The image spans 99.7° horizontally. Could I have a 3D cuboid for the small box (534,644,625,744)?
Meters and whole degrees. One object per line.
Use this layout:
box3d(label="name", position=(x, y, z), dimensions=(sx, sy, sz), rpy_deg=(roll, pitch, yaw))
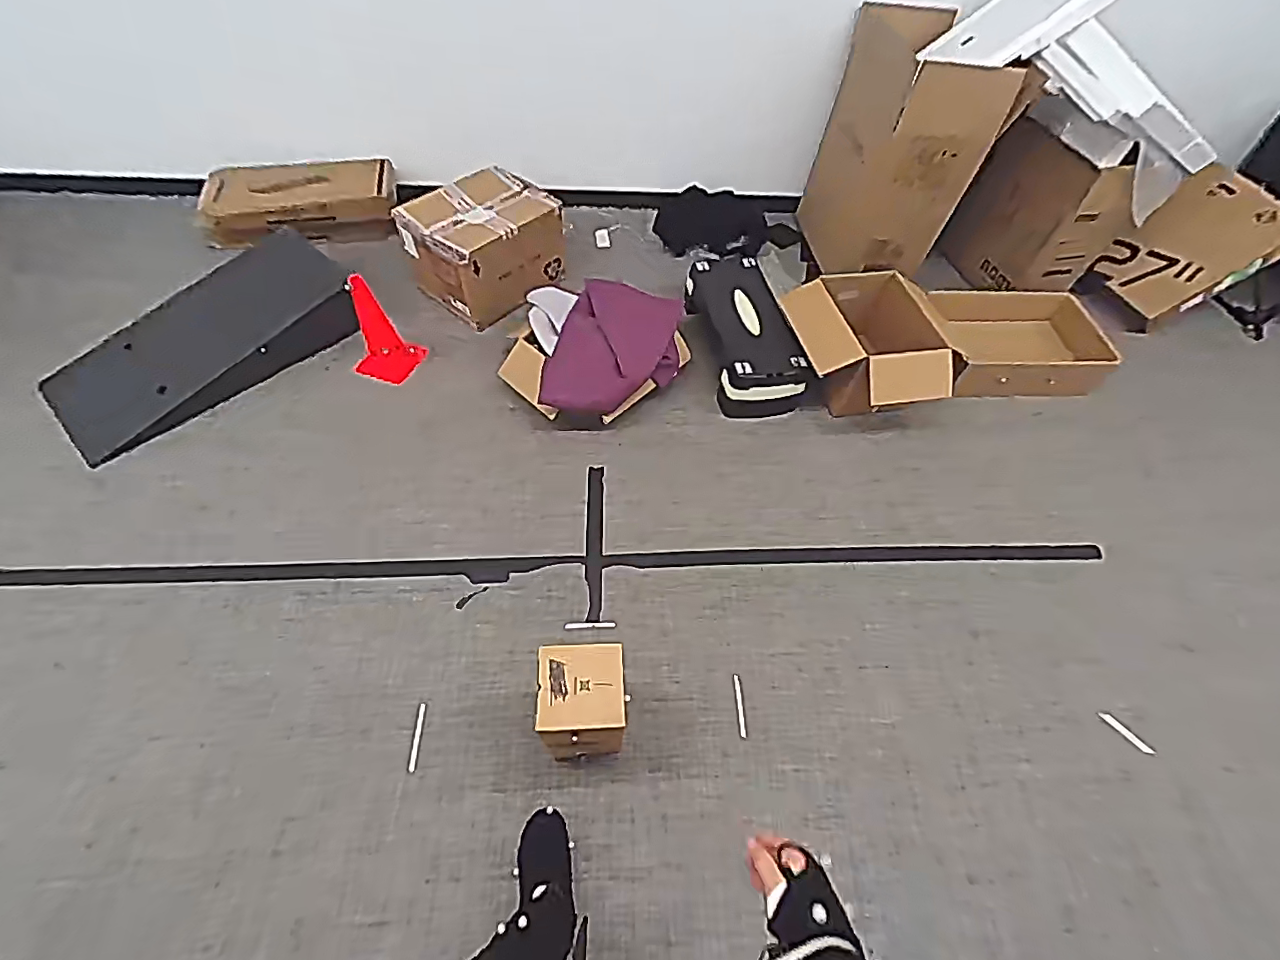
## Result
box3d(label="small box", position=(-0.123, 0.456, 1.146), dimensions=(0.179, 0.176, 0.168), rpy_deg=(-1, 56, -4))

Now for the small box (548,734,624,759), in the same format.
box3d(label="small box", position=(-0.131, 0.549, 1.283), dimensions=(0.168, 0.176, 0.179), rpy_deg=(-5, 58, -6))
